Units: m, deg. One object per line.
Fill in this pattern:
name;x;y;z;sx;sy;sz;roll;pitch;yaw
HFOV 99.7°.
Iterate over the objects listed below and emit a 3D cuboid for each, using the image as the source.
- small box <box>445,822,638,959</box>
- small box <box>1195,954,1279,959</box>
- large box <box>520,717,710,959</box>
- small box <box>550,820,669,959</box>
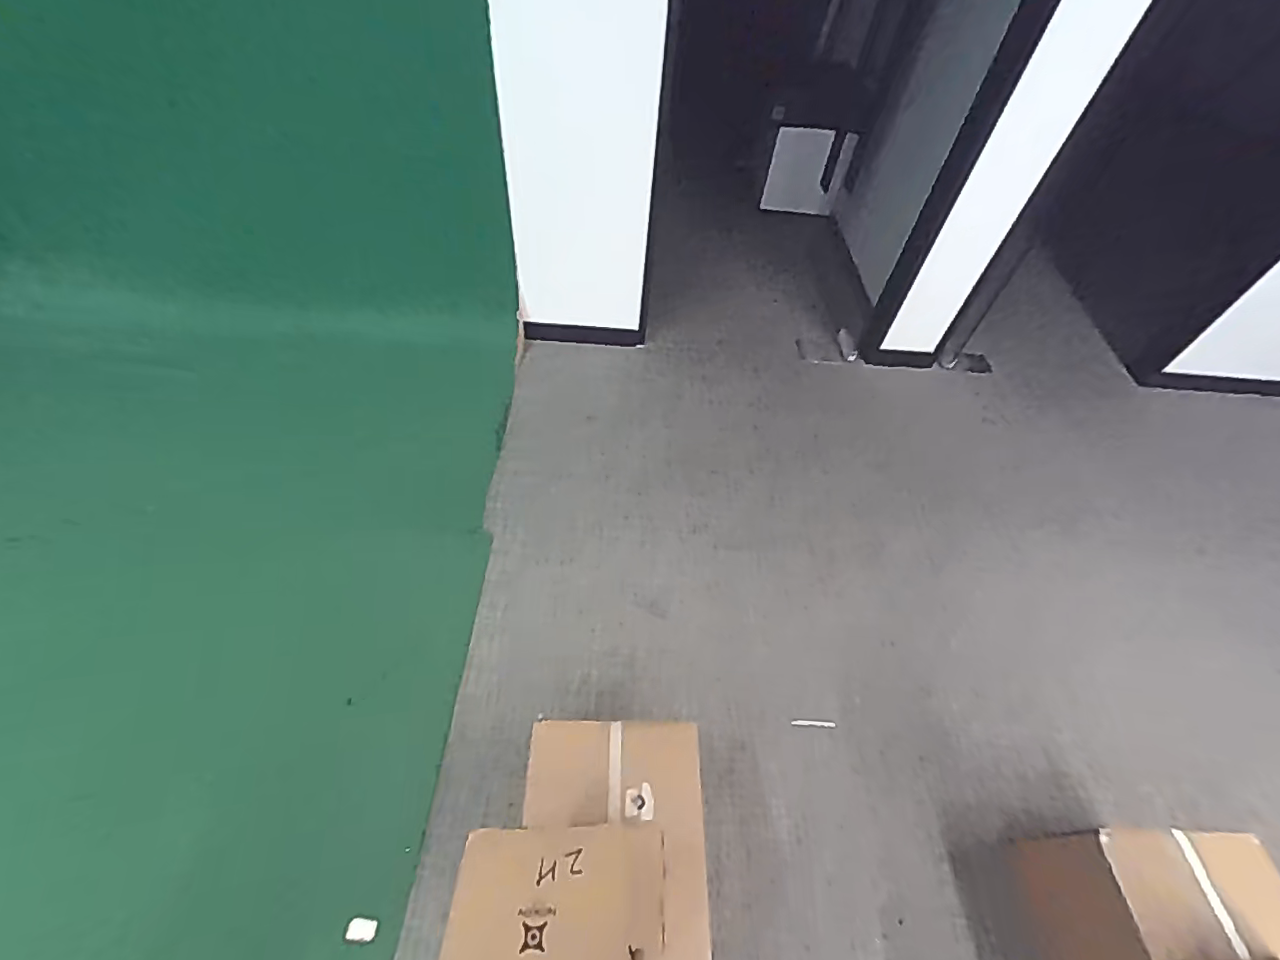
small box;-0.087;0.474;0.536;0.168;0.176;0.179;-1;31;1
small box;0.953;0.778;0.752;0.179;0.176;0.168;1;52;-3
large box;-0.058;0.702;1.018;0.320;0.320;0.408;3;51;-3
small box;-0.054;0.603;0.783;0.179;0.176;0.168;4;51;0
